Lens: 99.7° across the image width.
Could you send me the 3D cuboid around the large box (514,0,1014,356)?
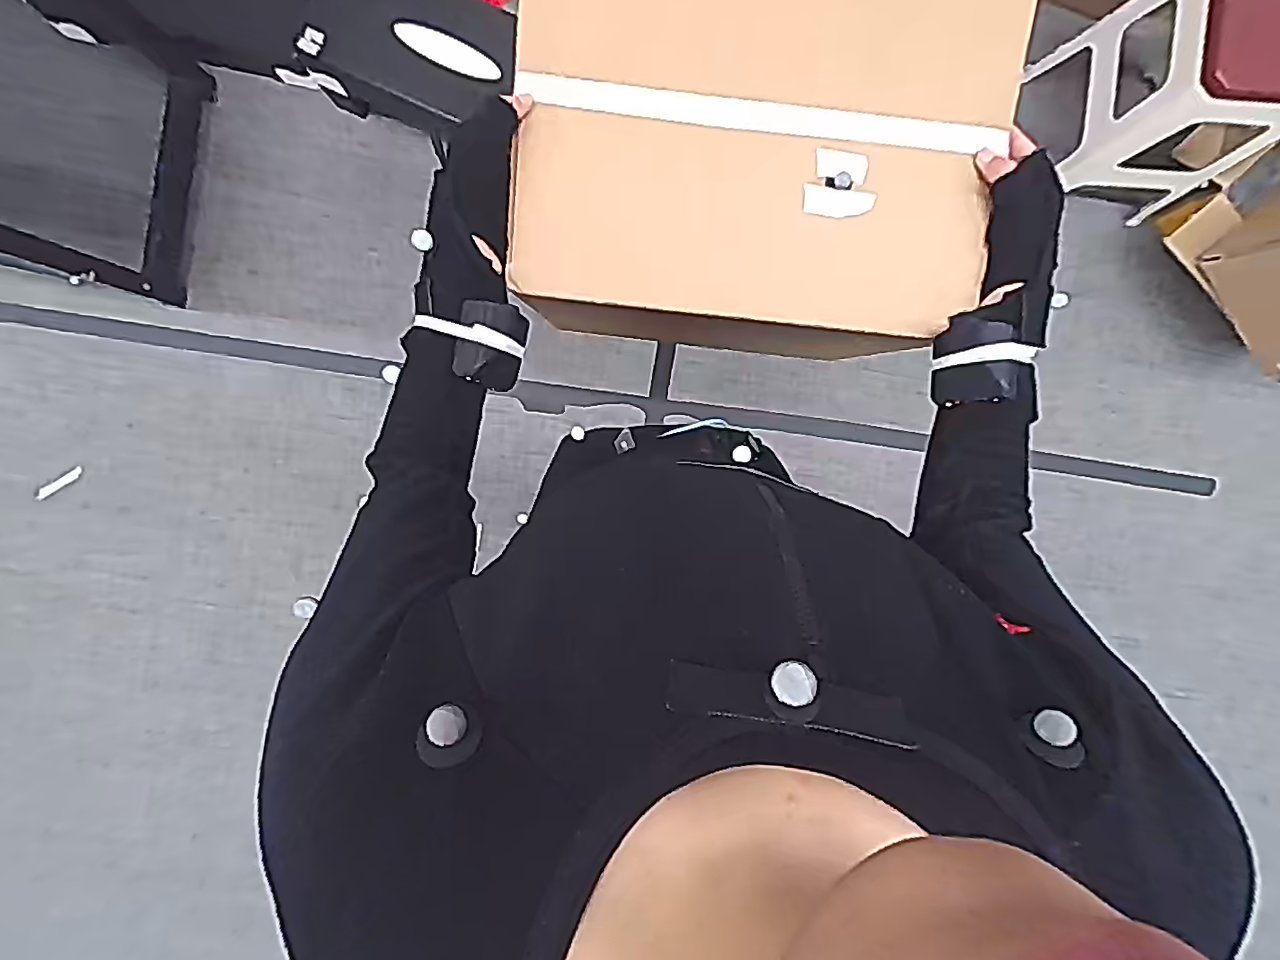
[{"bbox_3d":[0.093,-0.321,0.601,0.408,0.320,0.320,6,100,-3],"label":"large box"}]
